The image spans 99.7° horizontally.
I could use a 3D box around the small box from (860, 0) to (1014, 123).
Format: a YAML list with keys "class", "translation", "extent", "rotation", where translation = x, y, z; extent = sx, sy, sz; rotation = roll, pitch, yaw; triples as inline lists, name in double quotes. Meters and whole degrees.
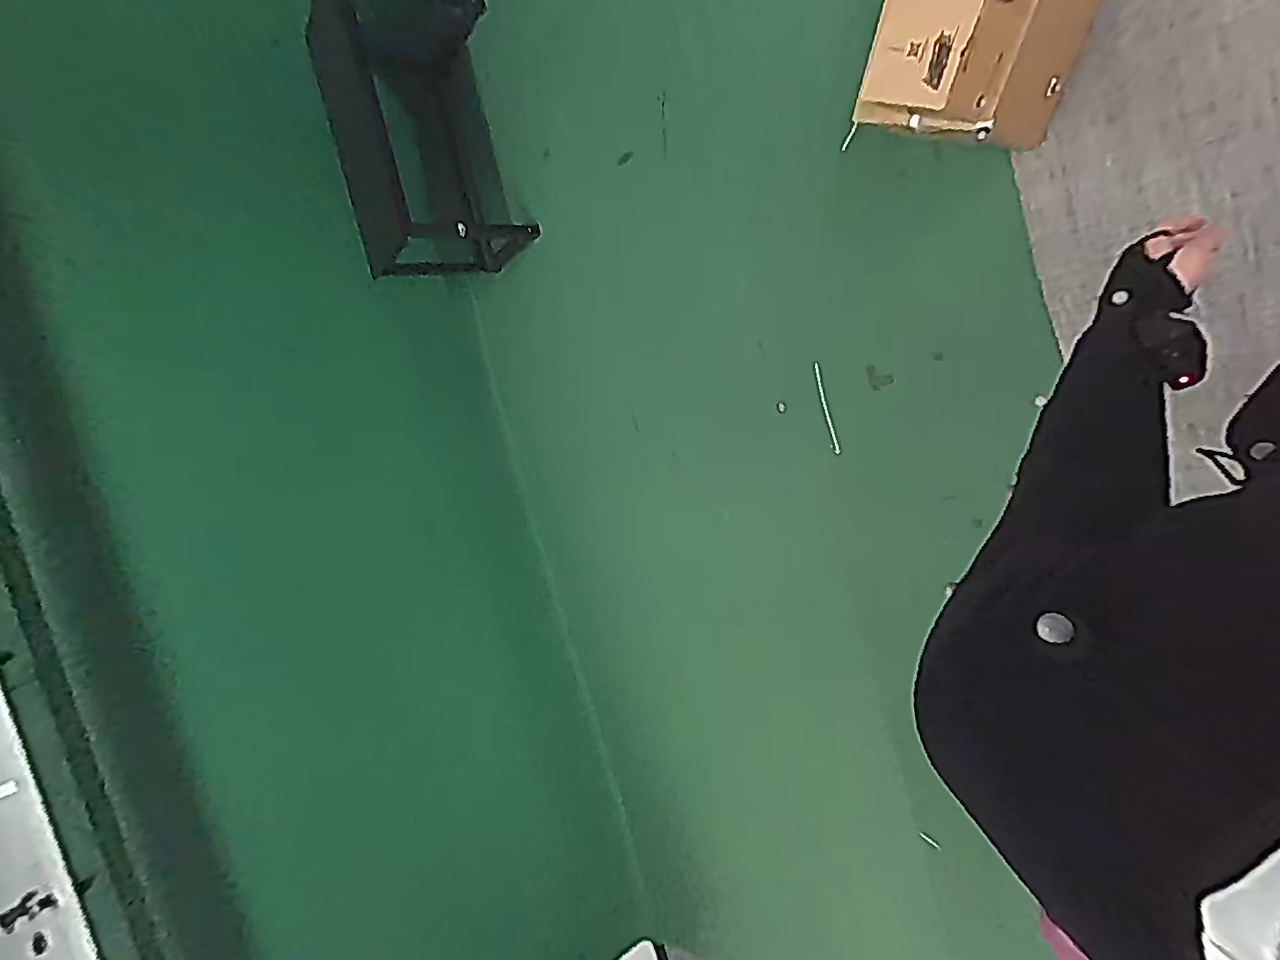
- class: "small box"
  translation: [0.564, -0.796, 1.028]
  extent: [0.179, 0.176, 0.168]
  rotation: [39, 131, 36]
